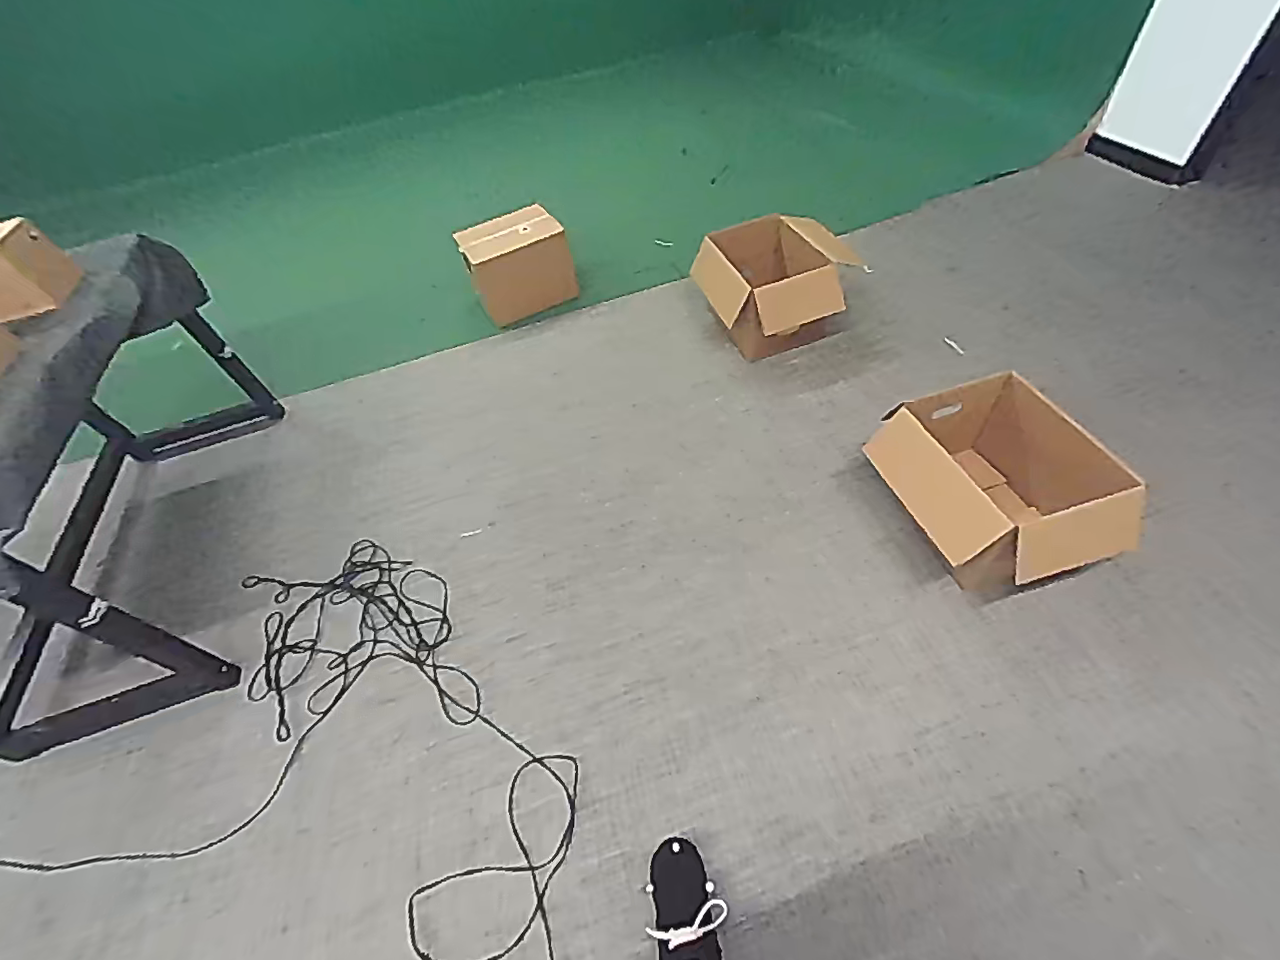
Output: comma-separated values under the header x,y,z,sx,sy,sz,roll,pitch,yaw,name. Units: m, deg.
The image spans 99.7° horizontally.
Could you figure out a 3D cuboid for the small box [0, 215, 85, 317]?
x,y,z,sx,sy,sz,roll,pitch,yaw,name
-1.593,-0.537,1.377,0.168,0.176,0.179,-17,51,-3,small box
